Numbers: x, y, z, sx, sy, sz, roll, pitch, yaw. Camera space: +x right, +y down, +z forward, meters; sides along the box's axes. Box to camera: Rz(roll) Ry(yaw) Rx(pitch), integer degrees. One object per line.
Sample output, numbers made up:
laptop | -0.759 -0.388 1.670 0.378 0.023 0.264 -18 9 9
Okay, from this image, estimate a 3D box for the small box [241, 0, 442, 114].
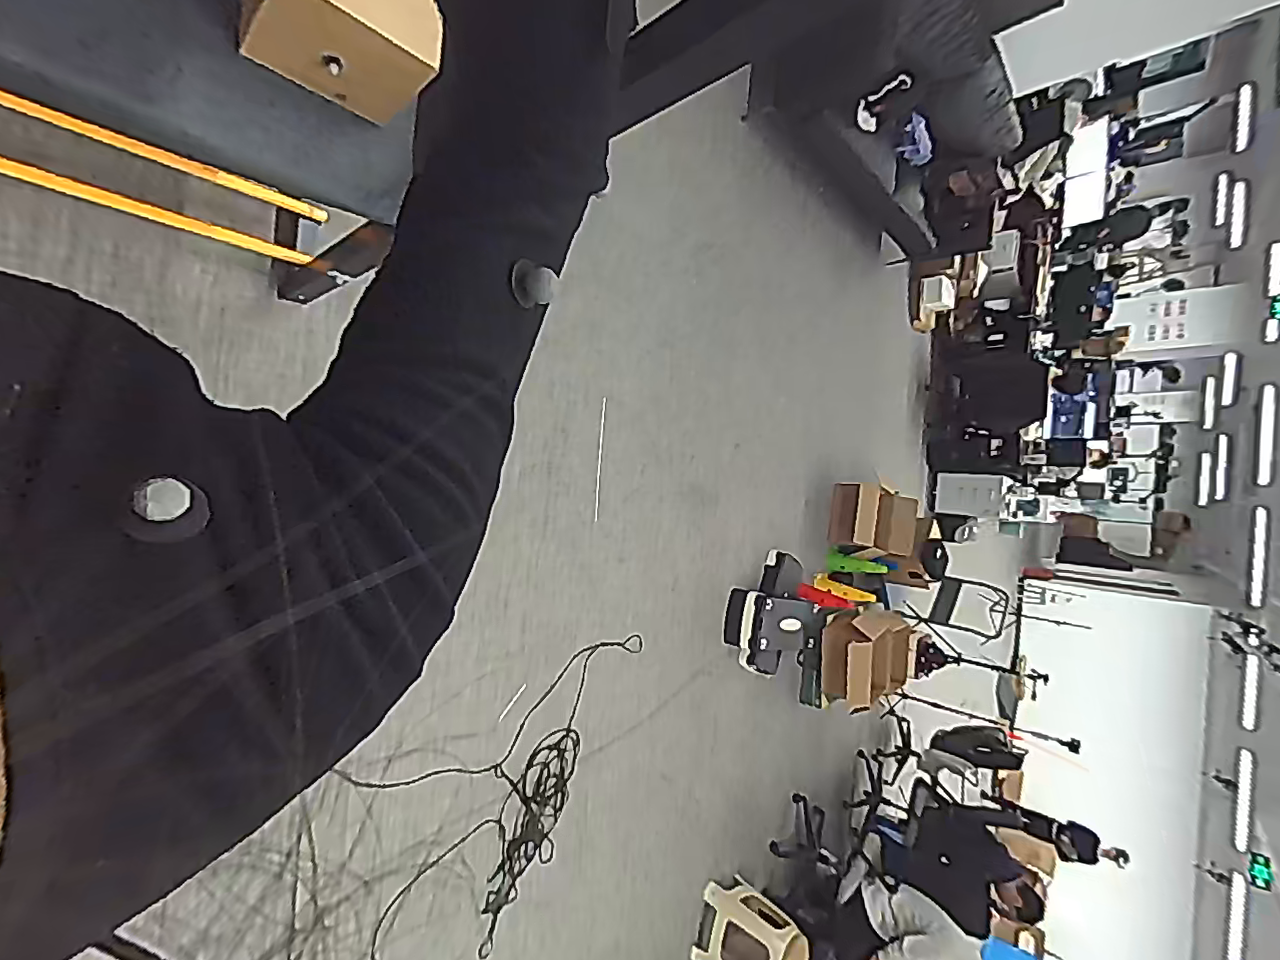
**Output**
small box | -0.349 -0.582 0.636 0.168 0.176 0.179 4 89 -48
